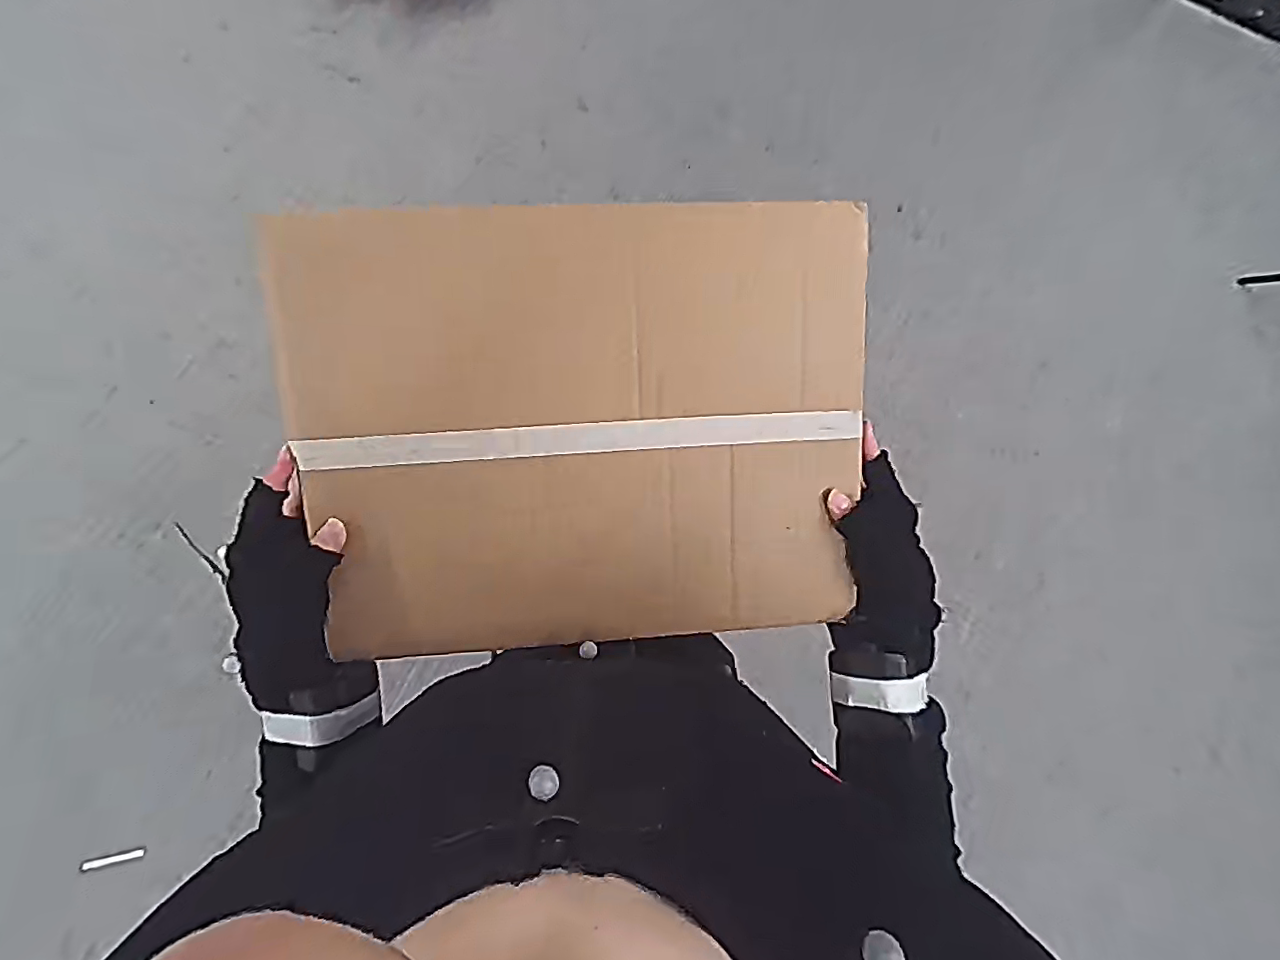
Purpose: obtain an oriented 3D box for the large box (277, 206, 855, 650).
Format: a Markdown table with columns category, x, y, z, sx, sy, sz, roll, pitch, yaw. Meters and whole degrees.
| category | x | y | z | sx | sy | sz | roll | pitch | yaw |
| --- | --- | --- | --- | --- | --- | --- | --- | --- | --- |
| large box | -0.051 | -0.060 | 0.543 | 0.408 | 0.320 | 0.320 | -3 | 102 | -5 |
